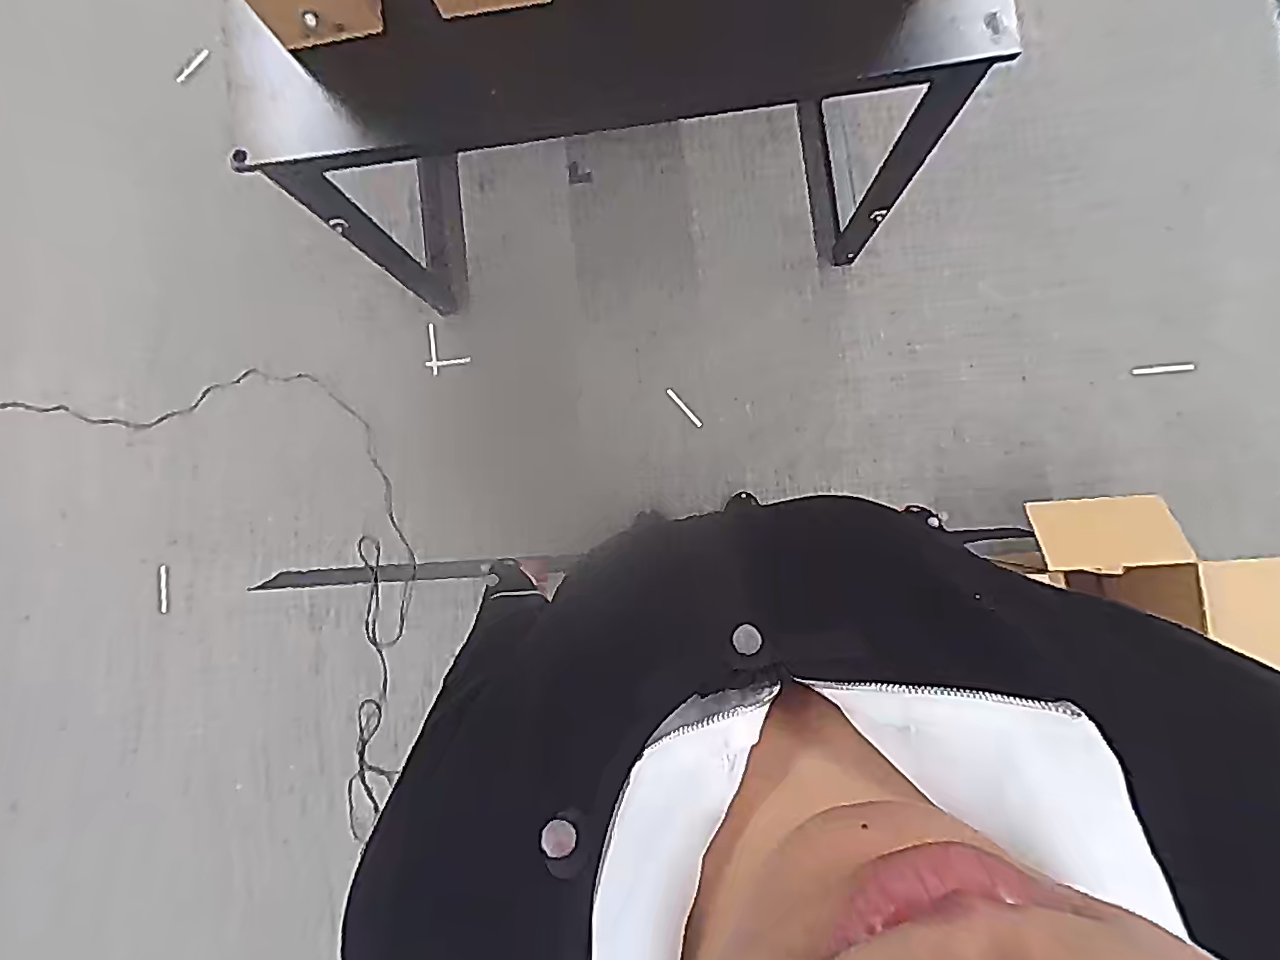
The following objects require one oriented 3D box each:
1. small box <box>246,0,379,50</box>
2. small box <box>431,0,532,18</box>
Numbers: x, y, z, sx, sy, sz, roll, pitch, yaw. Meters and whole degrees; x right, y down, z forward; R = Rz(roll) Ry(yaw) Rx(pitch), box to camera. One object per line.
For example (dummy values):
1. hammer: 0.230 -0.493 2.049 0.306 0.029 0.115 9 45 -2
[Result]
1. small box: -0.506 -0.782 0.783 0.168 0.176 0.179 -8 88 4
2. small box: -0.241 -0.812 0.766 0.179 0.176 0.168 -6 86 3
